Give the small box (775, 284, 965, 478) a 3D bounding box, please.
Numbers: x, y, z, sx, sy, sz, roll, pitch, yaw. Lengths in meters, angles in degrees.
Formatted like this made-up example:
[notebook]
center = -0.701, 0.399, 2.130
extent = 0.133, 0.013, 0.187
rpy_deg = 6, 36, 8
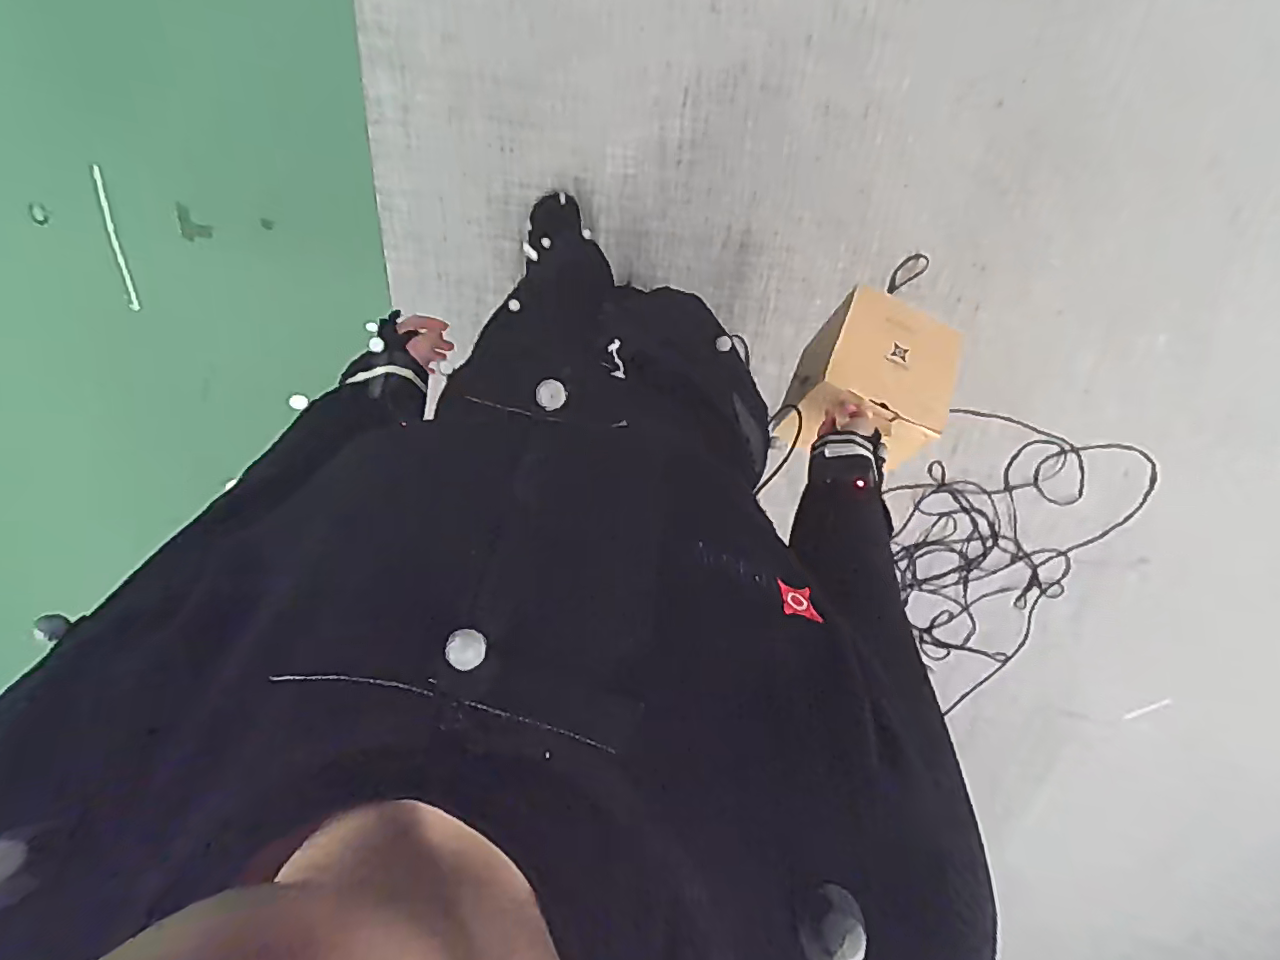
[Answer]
[small box]
center = 0.311, -0.127, 0.760
extent = 0.168, 0.179, 0.176
rpy_deg = 26, 158, -2
